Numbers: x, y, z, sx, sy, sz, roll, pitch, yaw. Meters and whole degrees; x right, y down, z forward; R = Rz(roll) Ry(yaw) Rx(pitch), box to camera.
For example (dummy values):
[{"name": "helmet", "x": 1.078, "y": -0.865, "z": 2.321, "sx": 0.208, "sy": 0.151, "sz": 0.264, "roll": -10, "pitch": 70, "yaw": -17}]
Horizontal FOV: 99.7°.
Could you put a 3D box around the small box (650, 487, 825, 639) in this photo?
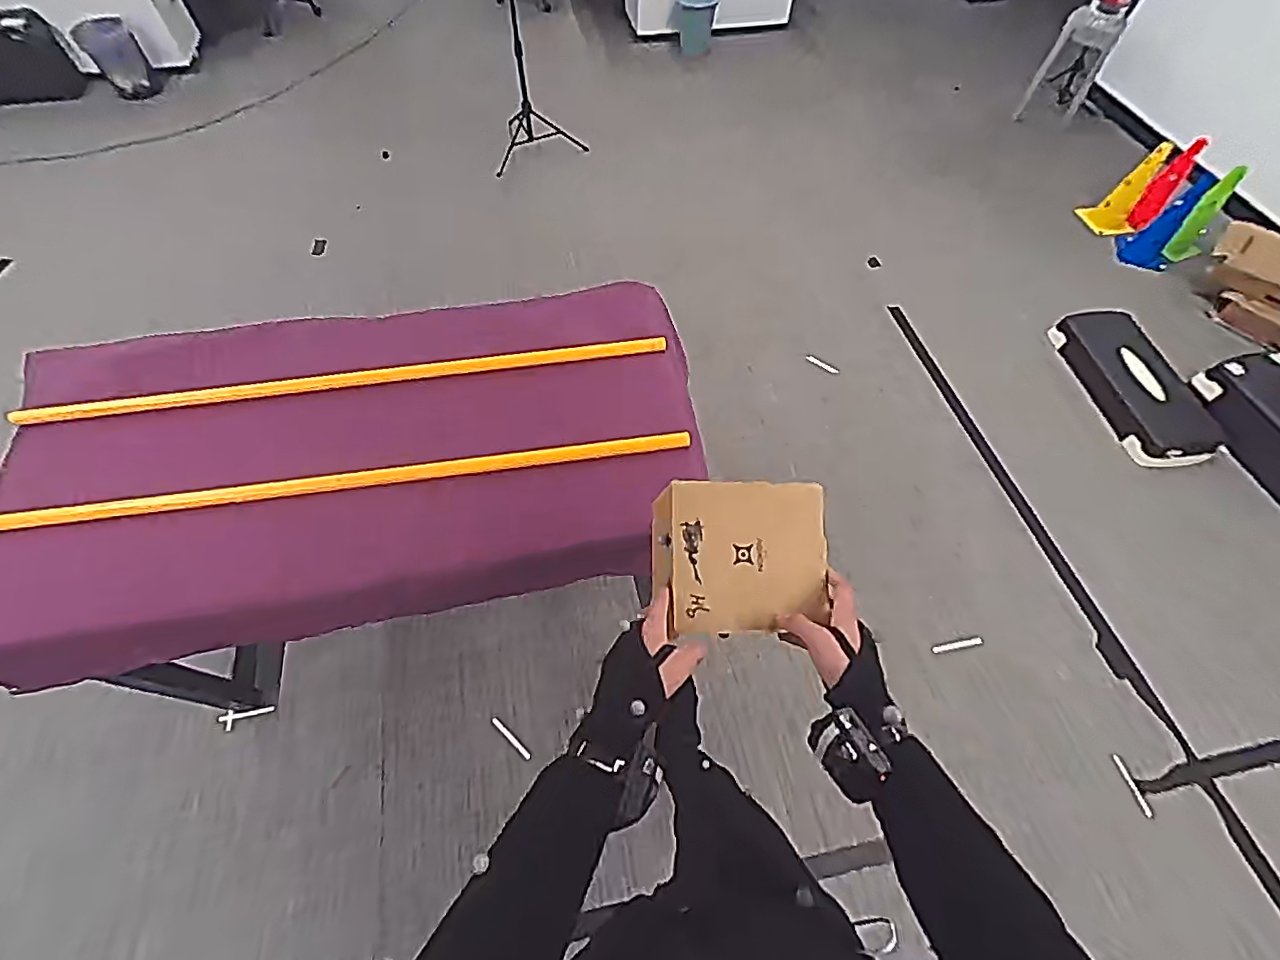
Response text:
[{"name": "small box", "x": 0.111, "y": 0.105, "z": 0.680, "sx": 0.179, "sy": 0.176, "sz": 0.168, "roll": 2, "pitch": 80, "yaw": -6}]
